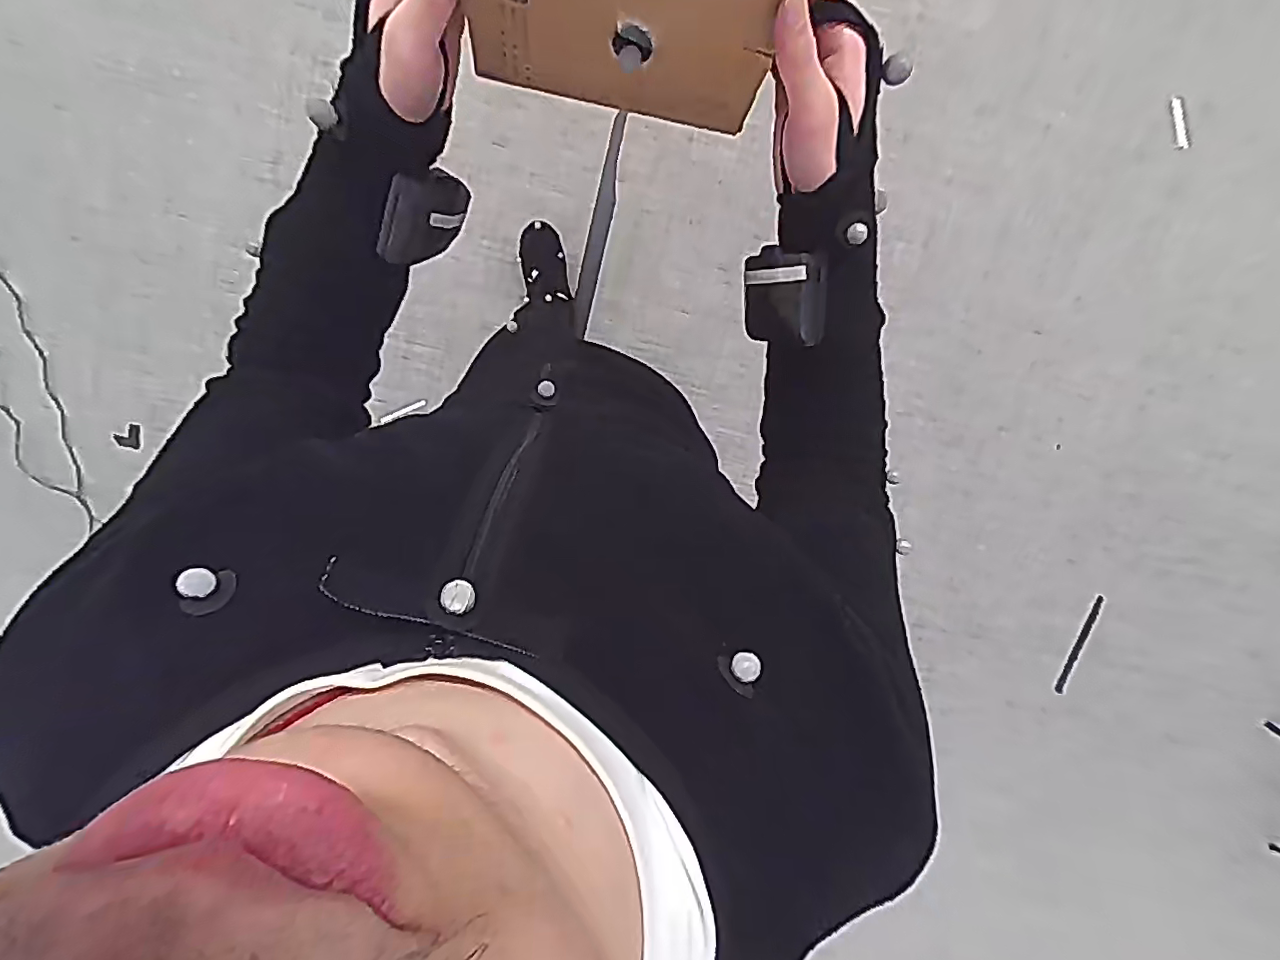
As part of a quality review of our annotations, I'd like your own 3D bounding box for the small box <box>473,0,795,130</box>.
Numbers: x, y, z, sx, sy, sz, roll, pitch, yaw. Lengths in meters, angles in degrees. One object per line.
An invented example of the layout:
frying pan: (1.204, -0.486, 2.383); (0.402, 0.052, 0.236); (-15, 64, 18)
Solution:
small box: (0.005, -0.331, 0.275); (0.176, 0.168, 0.179); (7, 81, -11)
